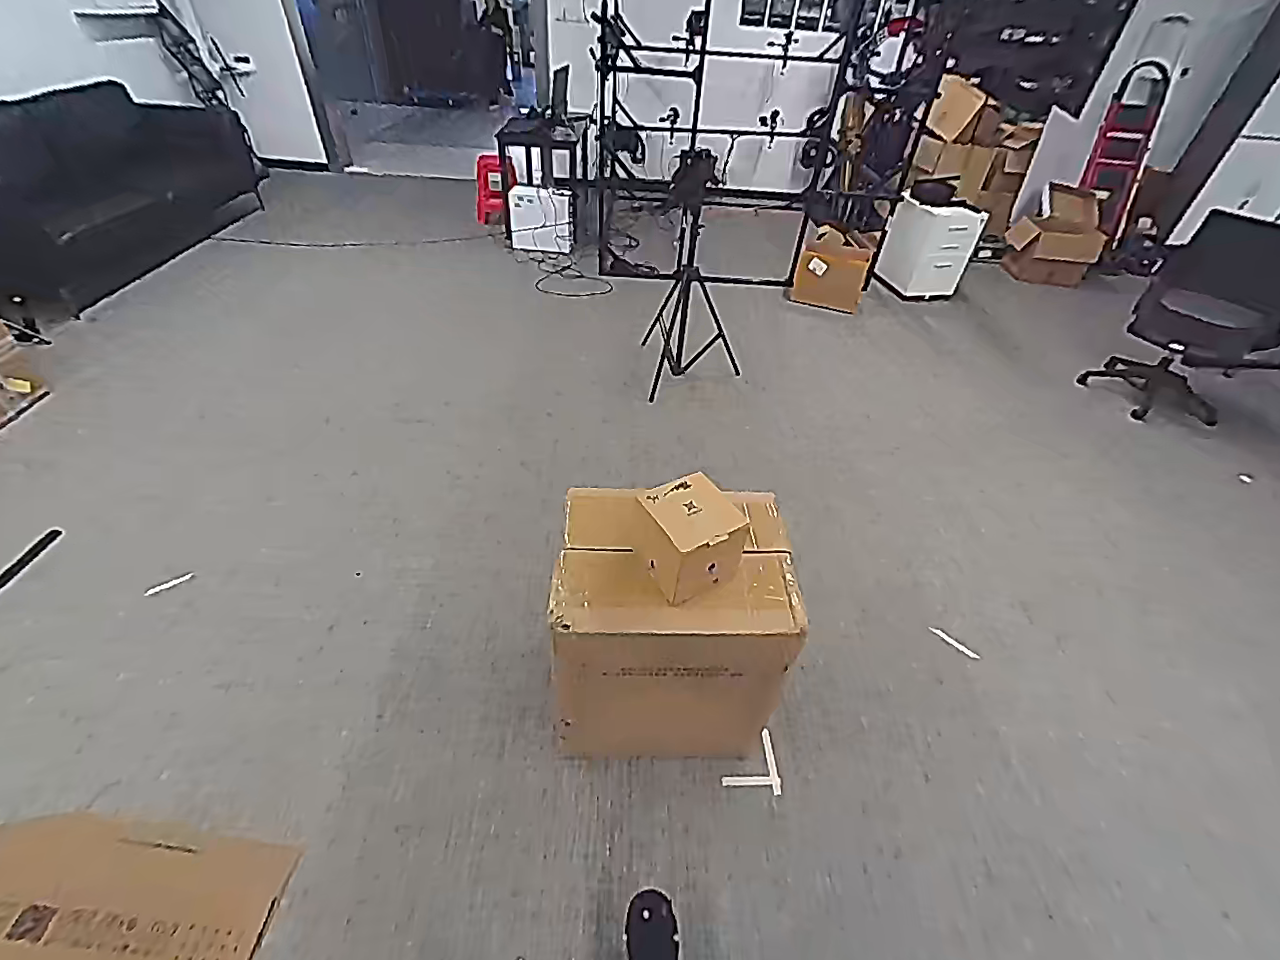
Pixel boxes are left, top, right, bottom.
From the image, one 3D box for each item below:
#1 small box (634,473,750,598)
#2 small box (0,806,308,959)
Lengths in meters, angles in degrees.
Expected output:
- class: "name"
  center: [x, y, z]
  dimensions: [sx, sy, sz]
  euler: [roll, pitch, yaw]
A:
- class: "small box"
  center: [0.100, 0.120, 1.125]
  dimensions: [0.168, 0.176, 0.179]
  euler: [-20, 48, -24]
- class: "small box"
  center: [-0.331, 0.310, 0.325]
  dimensions: [0.168, 0.179, 0.176]
  euler: [24, 58, -15]
